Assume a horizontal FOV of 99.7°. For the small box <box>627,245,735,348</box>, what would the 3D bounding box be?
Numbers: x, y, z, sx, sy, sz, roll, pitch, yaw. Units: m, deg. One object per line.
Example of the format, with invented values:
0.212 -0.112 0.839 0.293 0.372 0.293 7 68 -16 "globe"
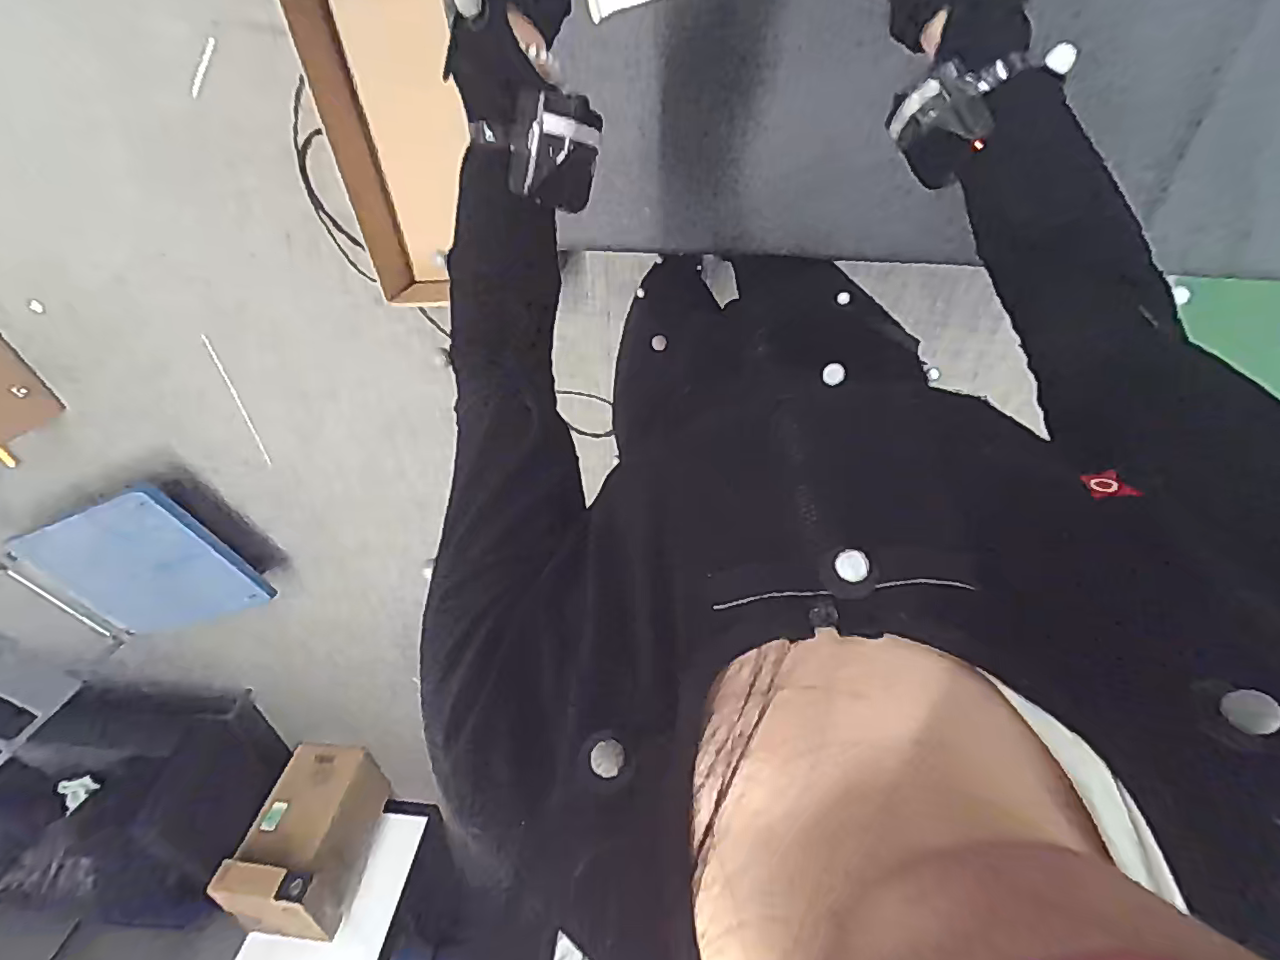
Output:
0.093 -0.437 1.296 0.168 0.176 0.179 -43 82 32 "small box"
